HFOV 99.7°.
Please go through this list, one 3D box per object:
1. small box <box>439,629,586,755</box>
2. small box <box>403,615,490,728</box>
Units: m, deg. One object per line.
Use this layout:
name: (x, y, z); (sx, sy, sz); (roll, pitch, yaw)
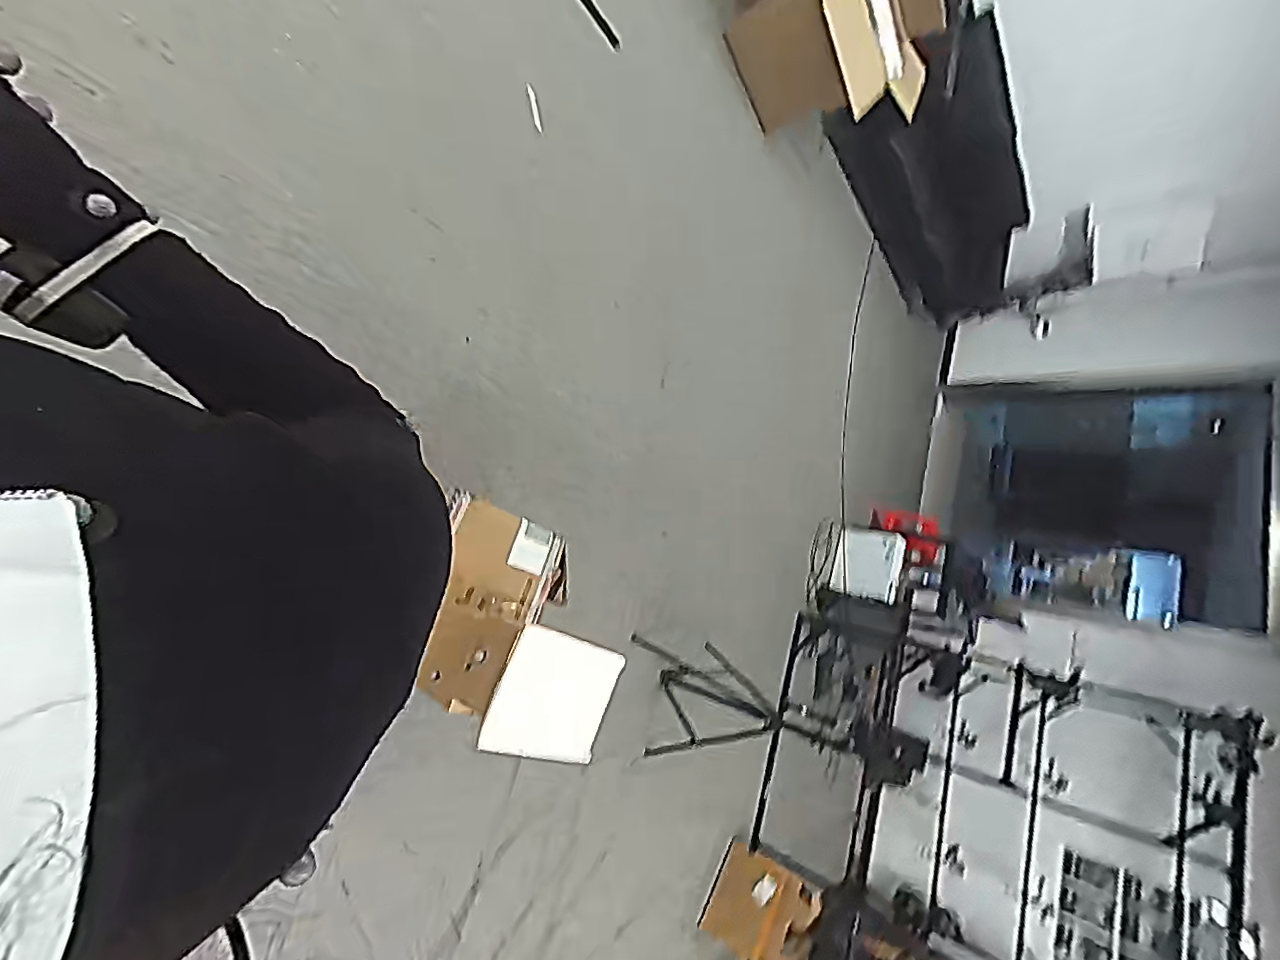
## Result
small box: (-0.243, 0.400, 1.032); (0.179, 0.176, 0.168); (38, 68, -43)
small box: (-0.369, 0.403, 1.139); (0.168, 0.176, 0.179); (33, 71, -45)
